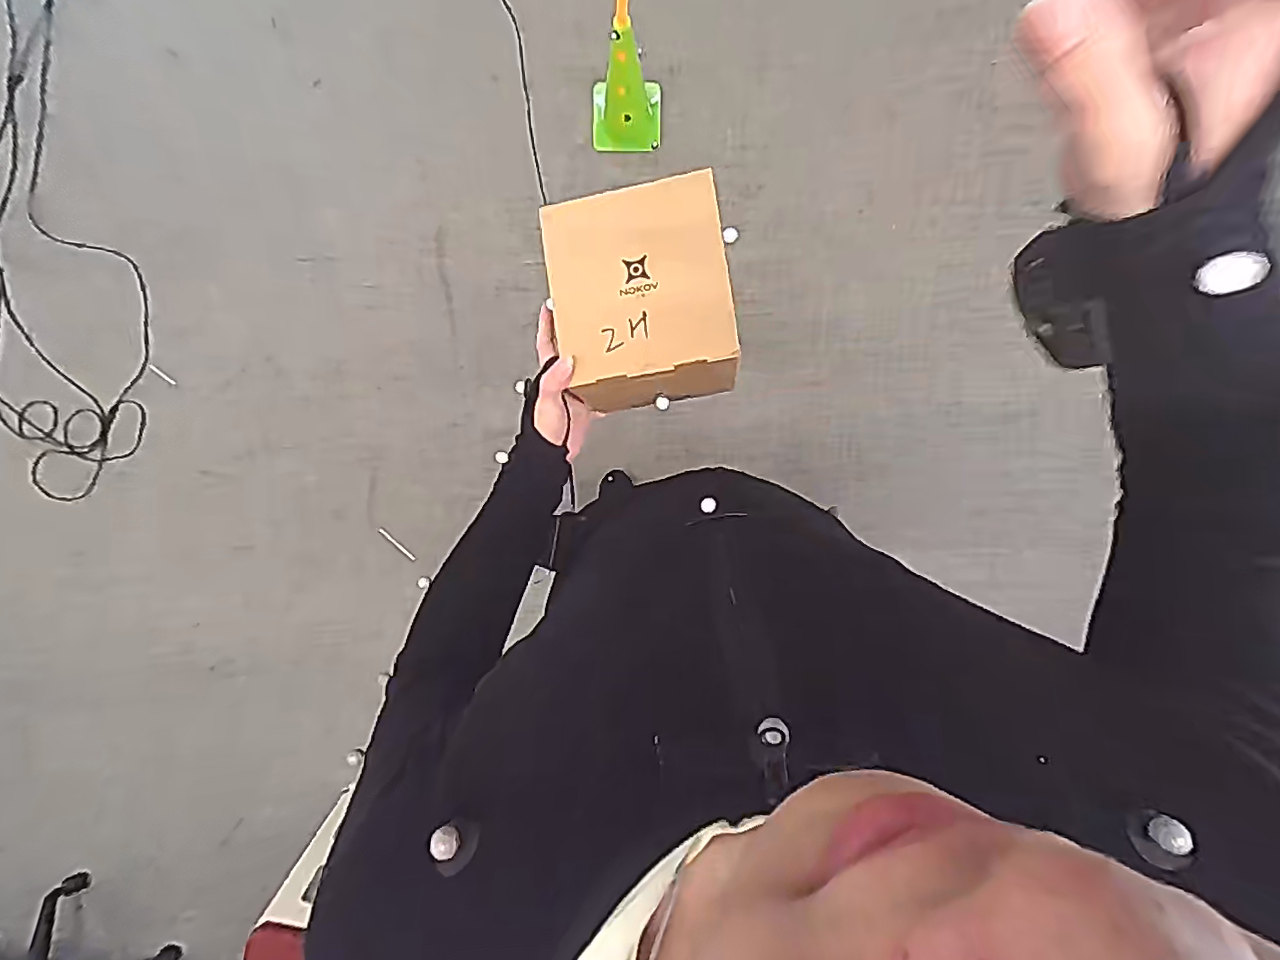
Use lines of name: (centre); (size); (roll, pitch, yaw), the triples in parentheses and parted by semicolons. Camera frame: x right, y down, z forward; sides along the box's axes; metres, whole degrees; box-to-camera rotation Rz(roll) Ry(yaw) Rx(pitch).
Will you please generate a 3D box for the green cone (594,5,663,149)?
green cone: (-0.039, -1.070, 1.410); (0.202, 0.368, 0.200); (-1, 90, 2)
